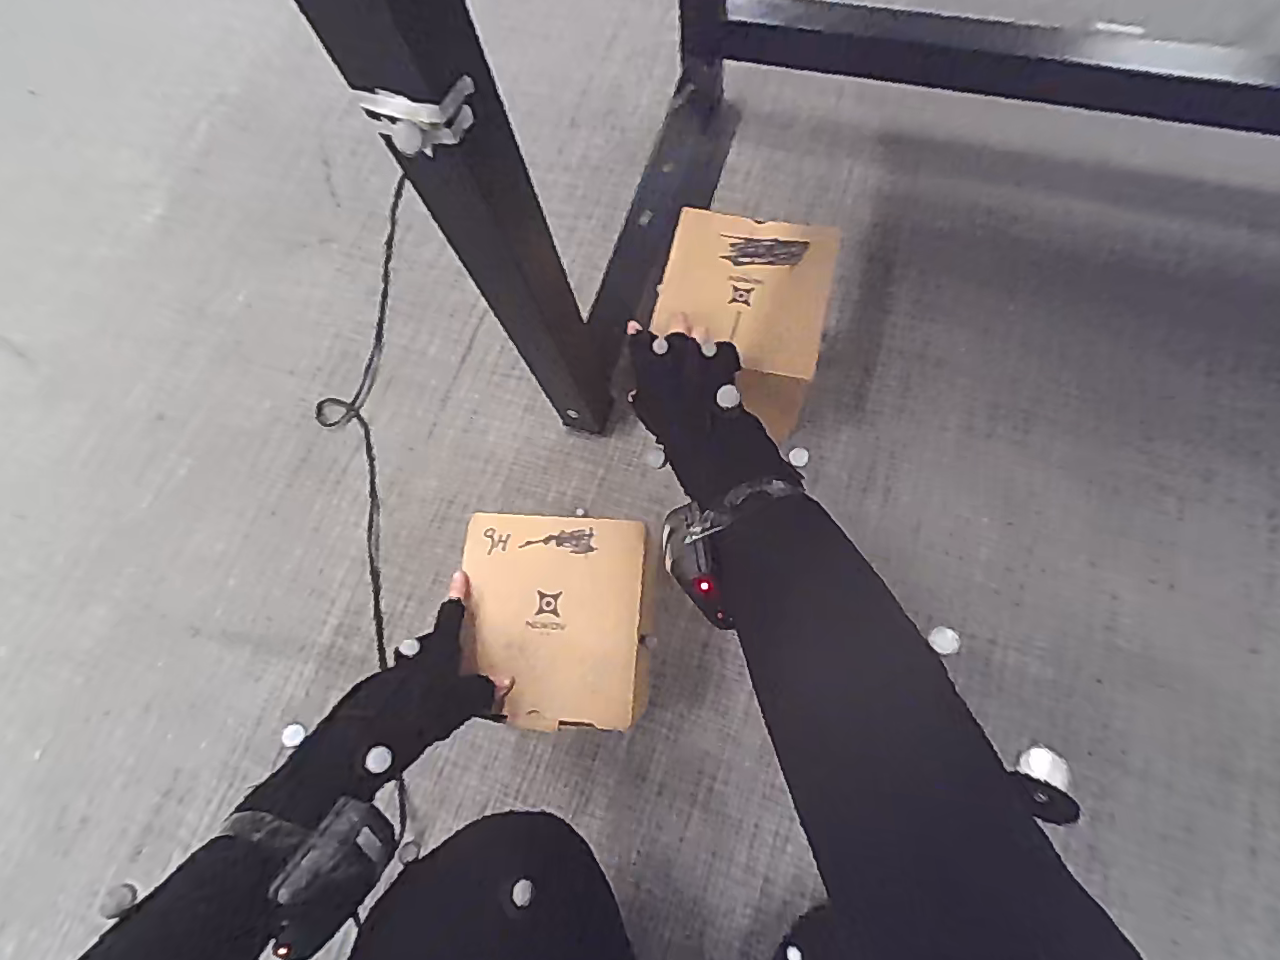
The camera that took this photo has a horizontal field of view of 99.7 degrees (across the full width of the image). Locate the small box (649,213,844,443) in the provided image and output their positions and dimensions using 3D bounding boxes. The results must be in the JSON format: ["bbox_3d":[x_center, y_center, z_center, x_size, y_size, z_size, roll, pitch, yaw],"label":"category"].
[{"bbox_3d":[0.115,-0.164,0.618,0.168,0.176,0.179,14,77,10],"label":"small box"}]
